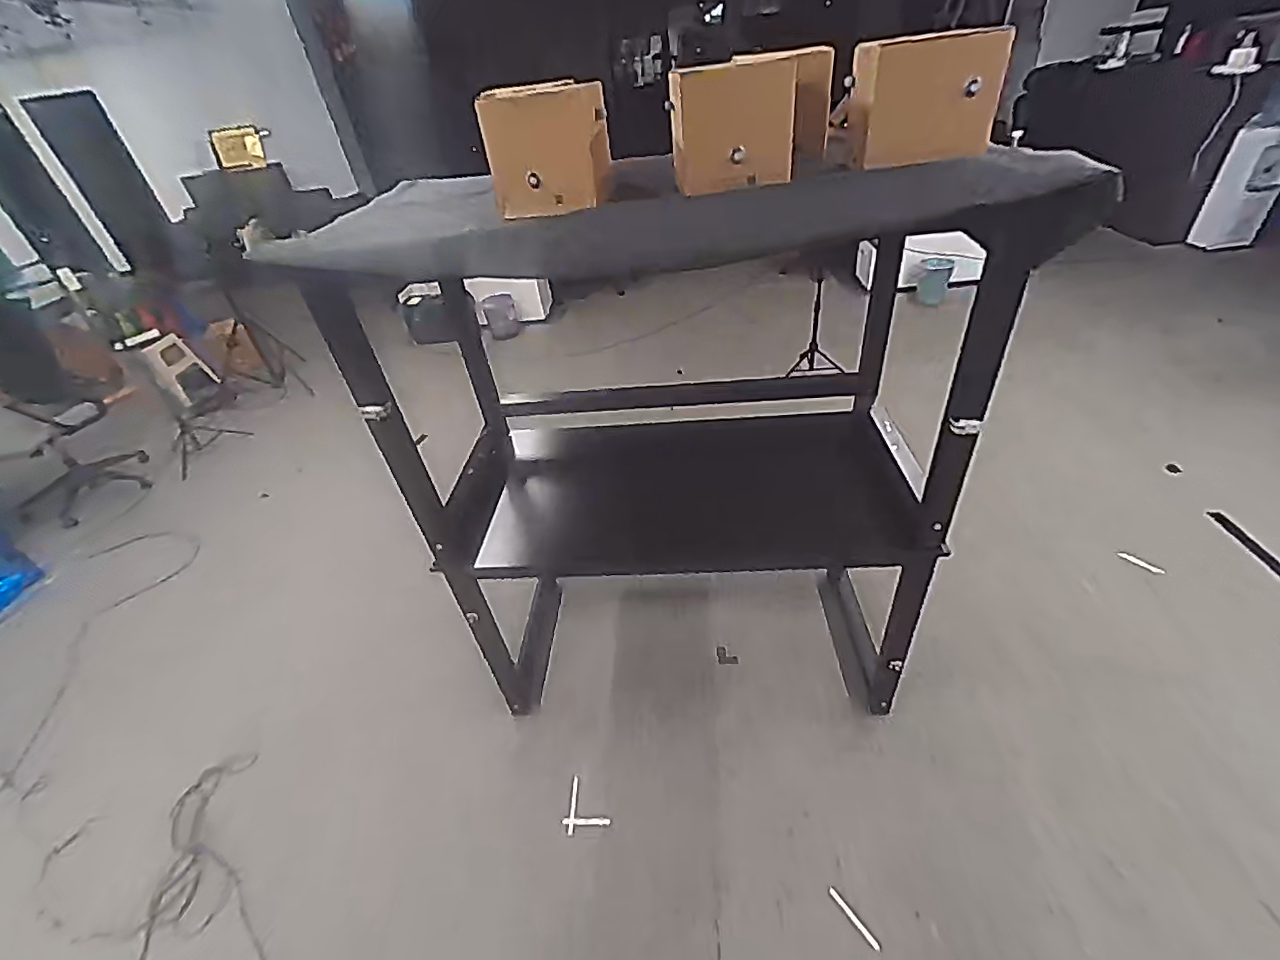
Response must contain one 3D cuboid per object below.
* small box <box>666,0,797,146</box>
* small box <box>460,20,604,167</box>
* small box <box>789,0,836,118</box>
[{"bbox_3d":[0.131,-0.621,0.826,0.168,0.176,0.179,-7,38,2],"label":"small box"},{"bbox_3d":[-0.155,-0.603,0.851,0.168,0.176,0.179,-1,38,8],"label":"small box"},{"bbox_3d":[0.254,-0.781,1.006,0.168,0.176,0.179,-3,38,6],"label":"small box"}]
